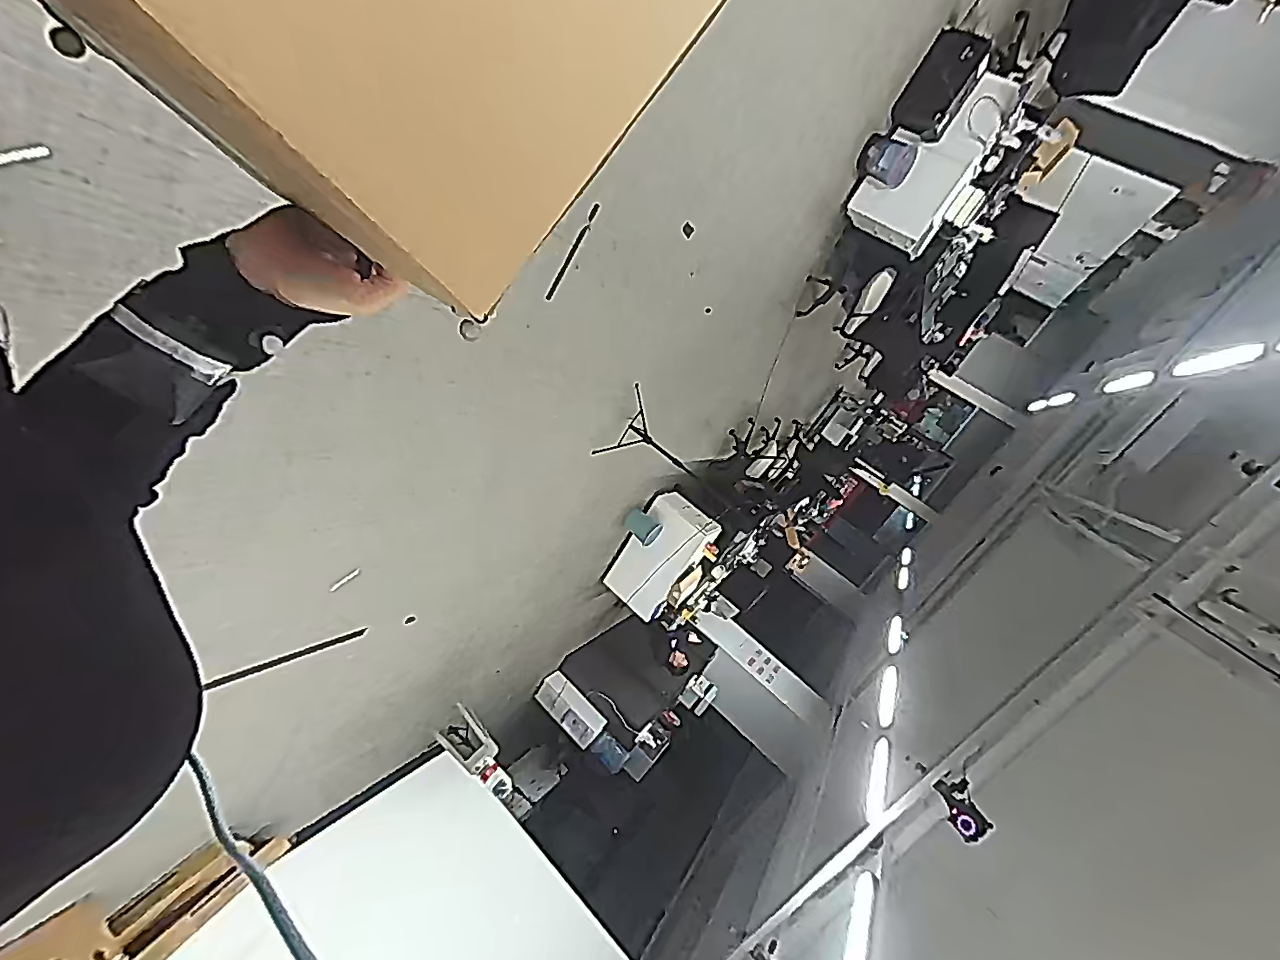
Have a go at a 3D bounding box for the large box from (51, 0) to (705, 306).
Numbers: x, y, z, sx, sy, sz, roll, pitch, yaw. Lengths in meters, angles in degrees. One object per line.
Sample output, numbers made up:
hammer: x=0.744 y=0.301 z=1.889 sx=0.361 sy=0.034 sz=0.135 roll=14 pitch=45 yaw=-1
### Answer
large box: x=-0.176 y=-0.349 z=0.189 sx=0.320 sy=0.320 sz=0.408 roll=-52 pitch=154 yaw=0
